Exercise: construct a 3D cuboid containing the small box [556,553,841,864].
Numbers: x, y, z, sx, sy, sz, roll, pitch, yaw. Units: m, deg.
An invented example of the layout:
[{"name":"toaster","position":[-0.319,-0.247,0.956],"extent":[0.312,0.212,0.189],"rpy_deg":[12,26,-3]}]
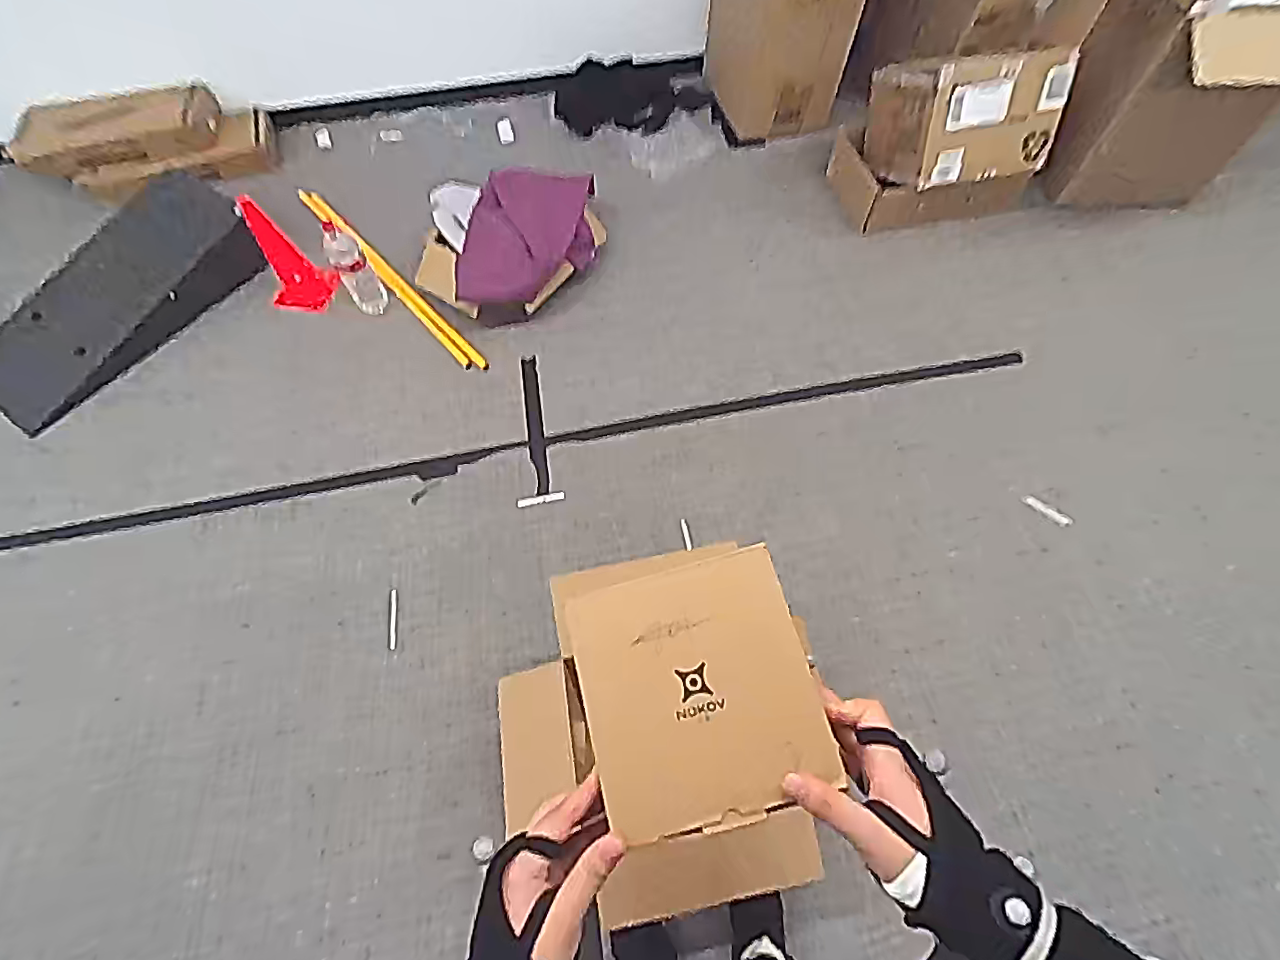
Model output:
[{"name":"small box","position":[0.044,0.180,0.462],"extent":[0.168,0.176,0.179],"rpy_deg":[-17,70,0]}]
